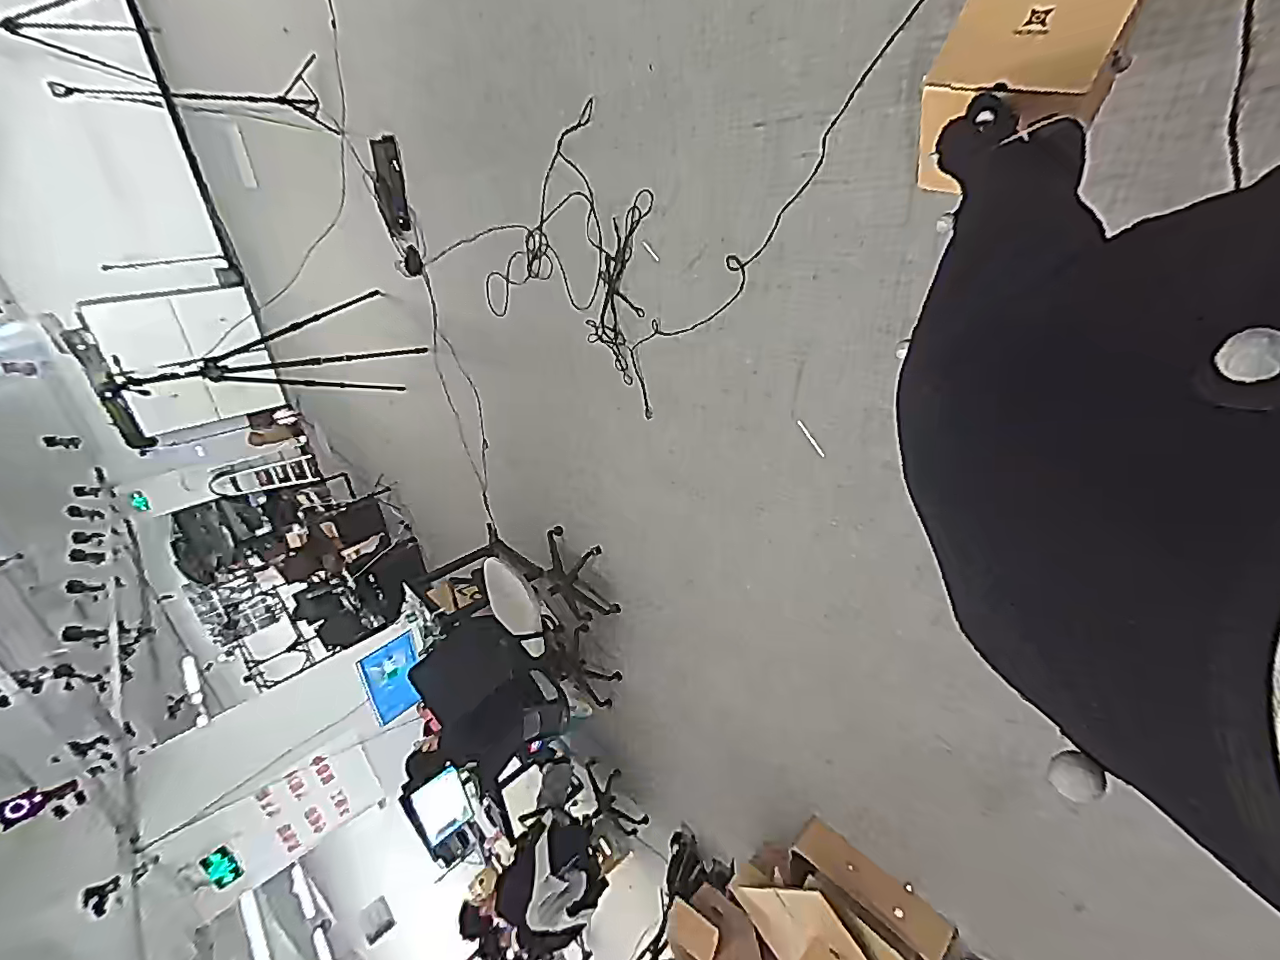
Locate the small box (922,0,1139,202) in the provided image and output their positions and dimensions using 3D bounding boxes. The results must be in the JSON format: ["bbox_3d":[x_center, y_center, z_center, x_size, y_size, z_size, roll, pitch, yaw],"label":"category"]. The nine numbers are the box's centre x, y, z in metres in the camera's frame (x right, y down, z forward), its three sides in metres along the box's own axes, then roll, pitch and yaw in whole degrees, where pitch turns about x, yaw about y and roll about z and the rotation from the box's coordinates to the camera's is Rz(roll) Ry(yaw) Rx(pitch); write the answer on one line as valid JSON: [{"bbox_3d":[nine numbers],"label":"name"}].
[{"bbox_3d":[0.466,-0.487,0.669,0.168,0.176,0.179,28,91,28],"label":"small box"}]
